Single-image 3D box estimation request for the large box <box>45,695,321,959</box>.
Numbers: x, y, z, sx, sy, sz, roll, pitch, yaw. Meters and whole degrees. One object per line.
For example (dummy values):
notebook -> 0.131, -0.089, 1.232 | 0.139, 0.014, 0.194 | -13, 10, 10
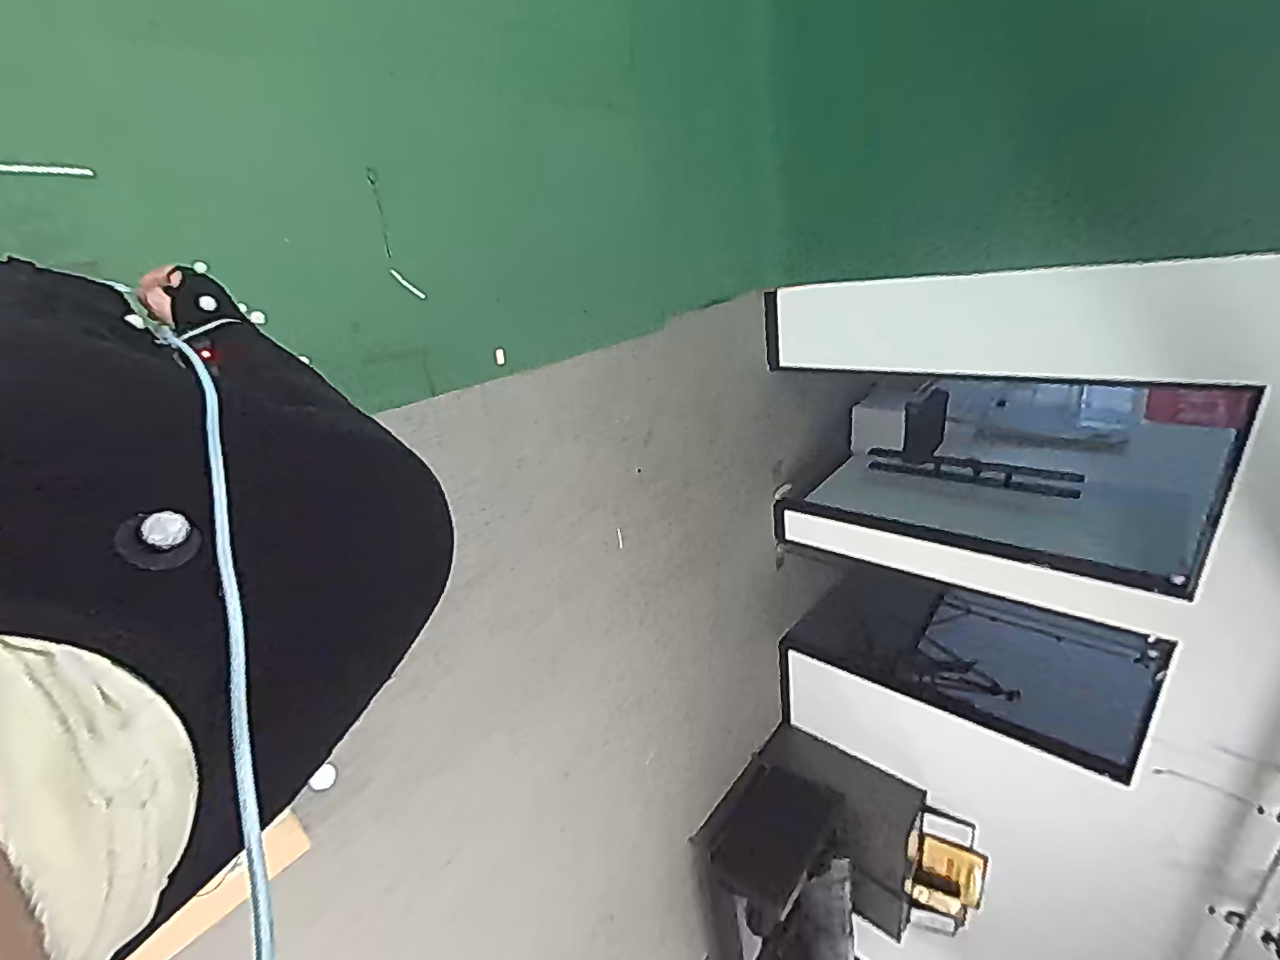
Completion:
large box -> -1.098, 0.823, 1.325 | 0.408, 0.320, 0.320 | -32, 123, -40
